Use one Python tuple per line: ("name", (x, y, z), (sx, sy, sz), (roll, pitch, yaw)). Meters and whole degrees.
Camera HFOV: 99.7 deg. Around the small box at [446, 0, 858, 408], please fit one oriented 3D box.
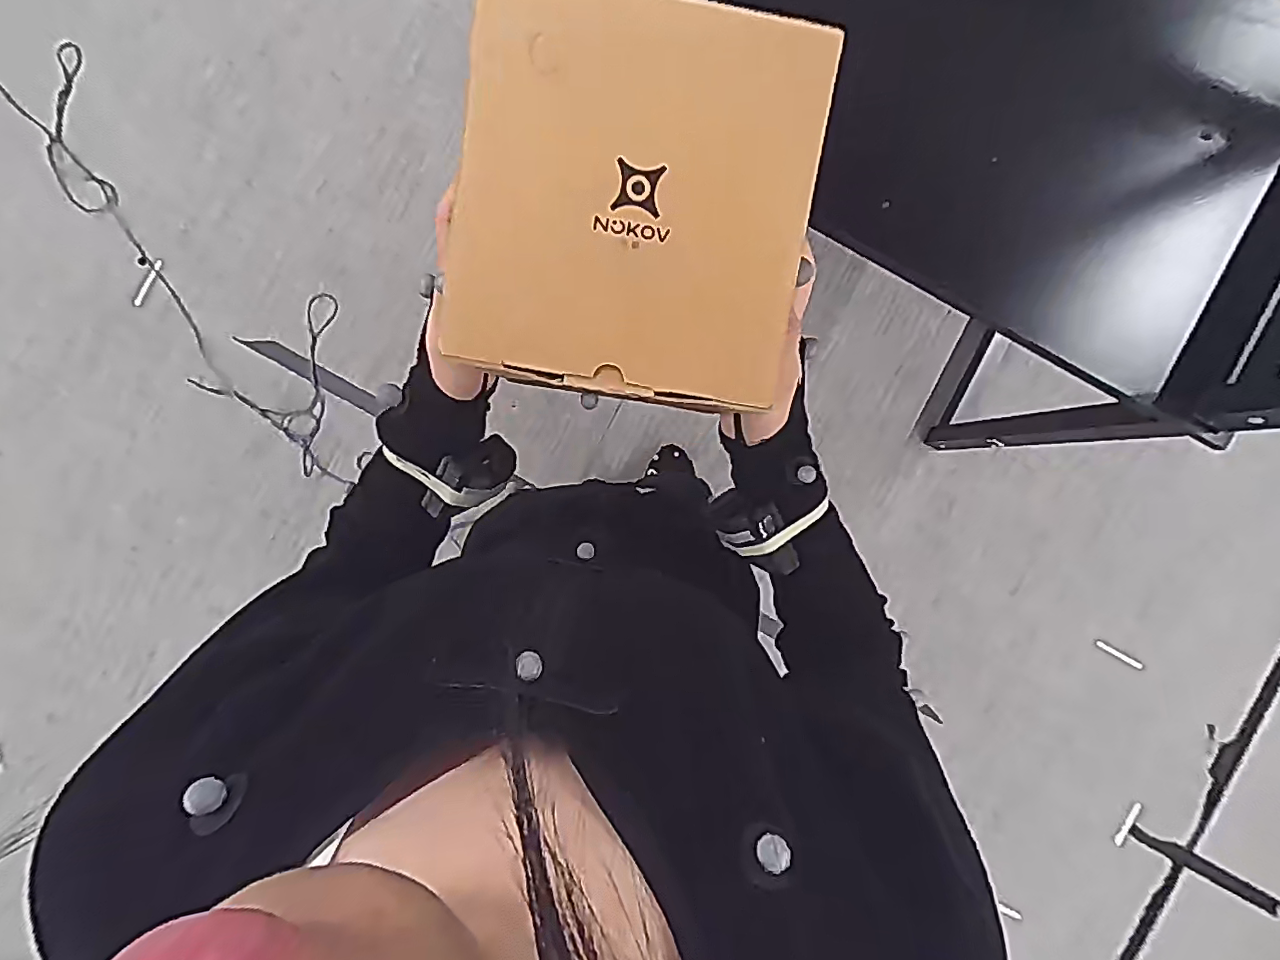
("small box", (0.000, -0.142, 0.321), (0.168, 0.176, 0.179), (8, 98, -4))
